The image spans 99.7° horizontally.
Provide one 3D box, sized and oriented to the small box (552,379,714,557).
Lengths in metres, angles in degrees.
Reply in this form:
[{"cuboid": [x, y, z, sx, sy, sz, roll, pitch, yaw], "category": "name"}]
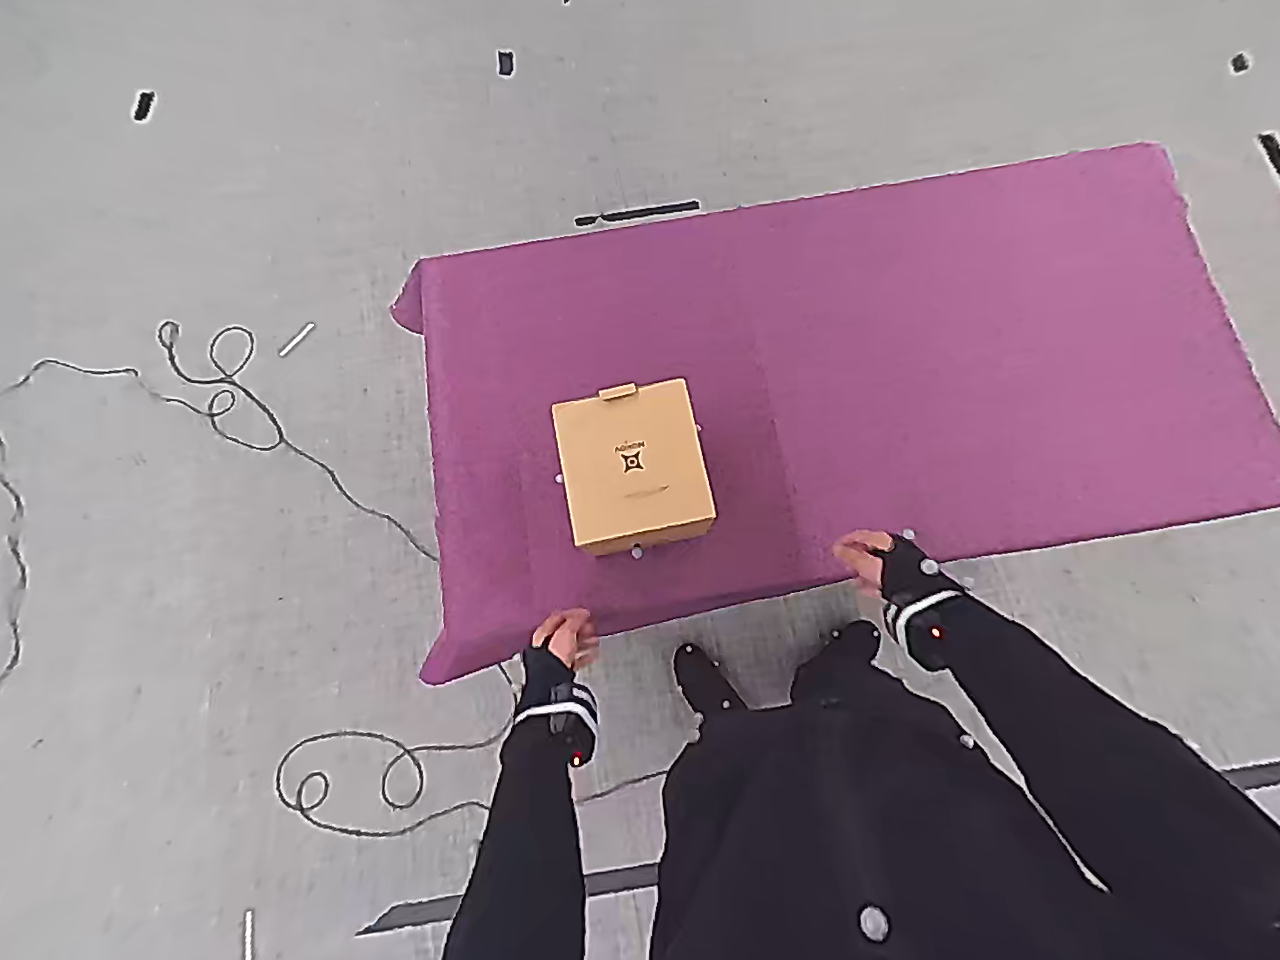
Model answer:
[{"cuboid": [-0.009, -0.006, 0.700, 0.168, 0.176, 0.179, -11, 77, 0], "category": "small box"}]
